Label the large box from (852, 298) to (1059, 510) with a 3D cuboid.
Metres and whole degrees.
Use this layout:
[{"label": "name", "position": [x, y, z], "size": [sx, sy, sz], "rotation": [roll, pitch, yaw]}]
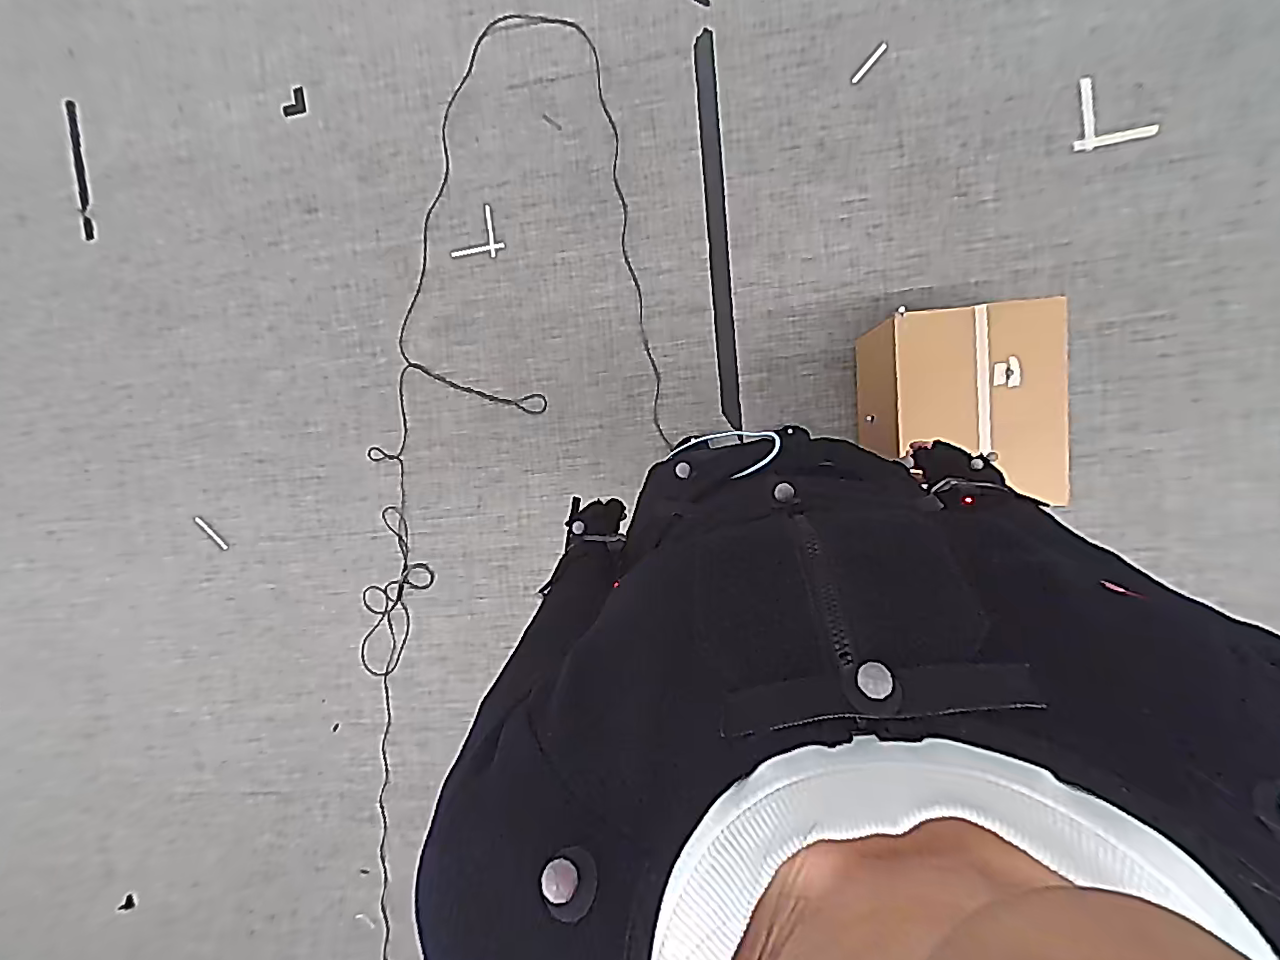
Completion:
[{"label": "large box", "position": [0.686, -0.156, 1.230], "size": [0.320, 0.320, 0.408], "rotation": [-4, 94, 7]}]
